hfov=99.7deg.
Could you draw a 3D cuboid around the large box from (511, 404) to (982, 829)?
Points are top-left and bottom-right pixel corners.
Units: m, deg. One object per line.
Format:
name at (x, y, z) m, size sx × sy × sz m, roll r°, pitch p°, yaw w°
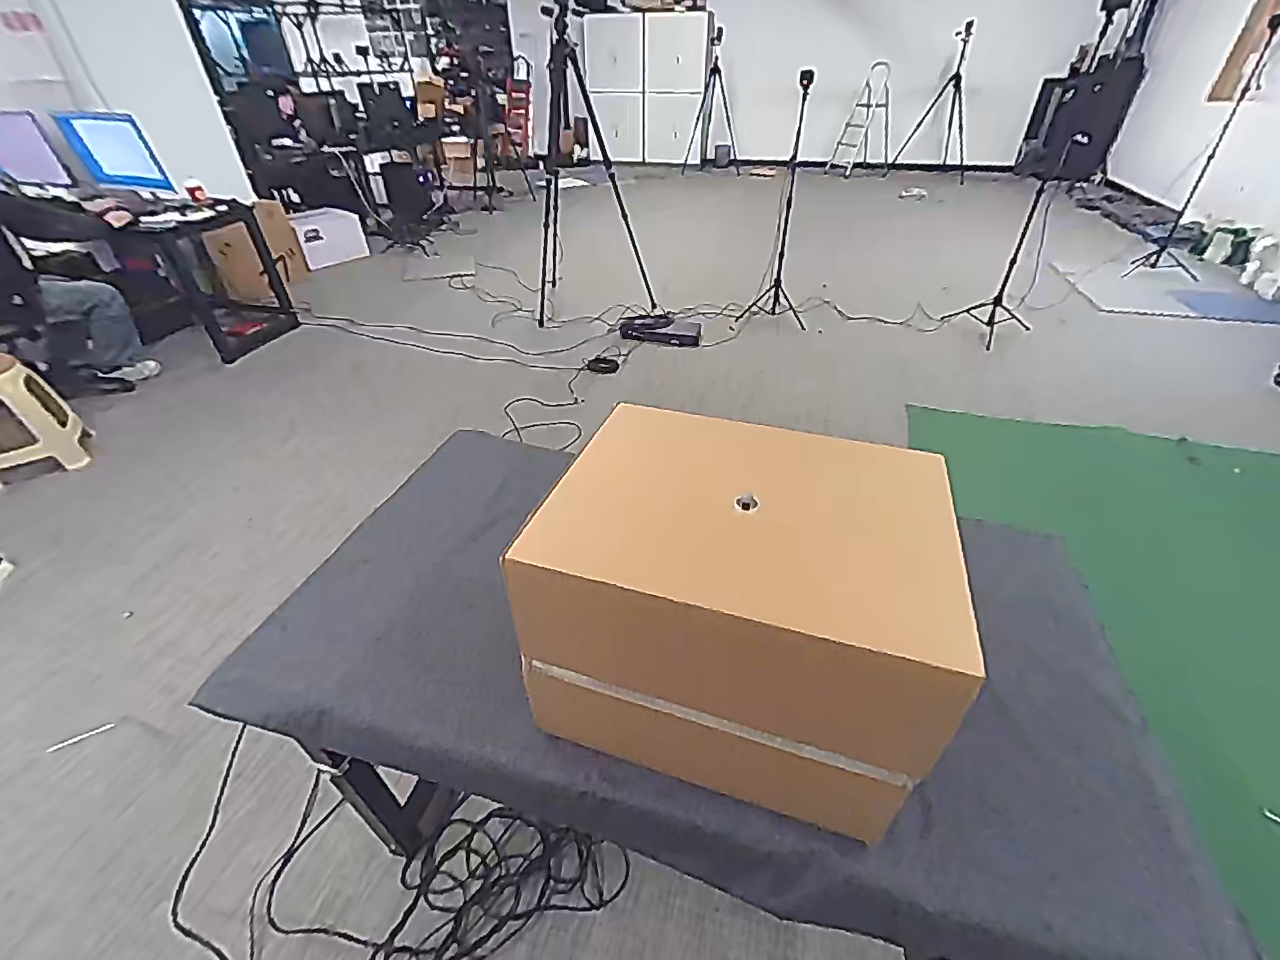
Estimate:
large box at (0.113, 0.144, 0.651) m, size 0.408 × 0.320 × 0.320 m, roll 11°, pitch 38°, yaw 14°
